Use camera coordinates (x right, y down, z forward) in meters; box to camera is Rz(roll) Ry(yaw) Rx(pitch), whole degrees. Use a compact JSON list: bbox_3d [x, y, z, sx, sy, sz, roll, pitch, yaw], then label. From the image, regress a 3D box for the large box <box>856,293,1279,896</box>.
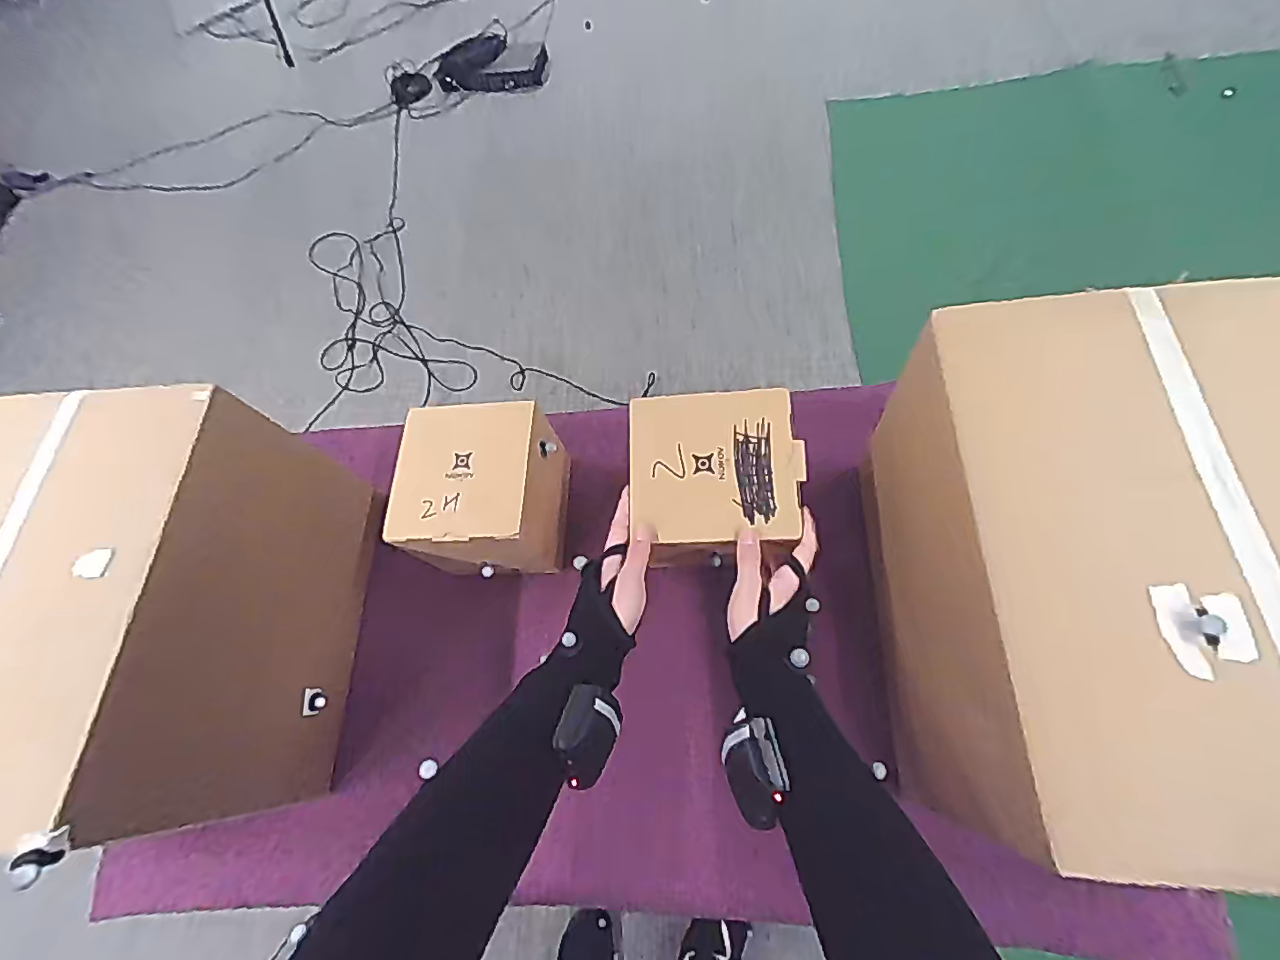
[{"bbox_3d":[0.413,0.096,0.496,0.320,0.320,0.408,-2,67,10],"label":"large box"}]
